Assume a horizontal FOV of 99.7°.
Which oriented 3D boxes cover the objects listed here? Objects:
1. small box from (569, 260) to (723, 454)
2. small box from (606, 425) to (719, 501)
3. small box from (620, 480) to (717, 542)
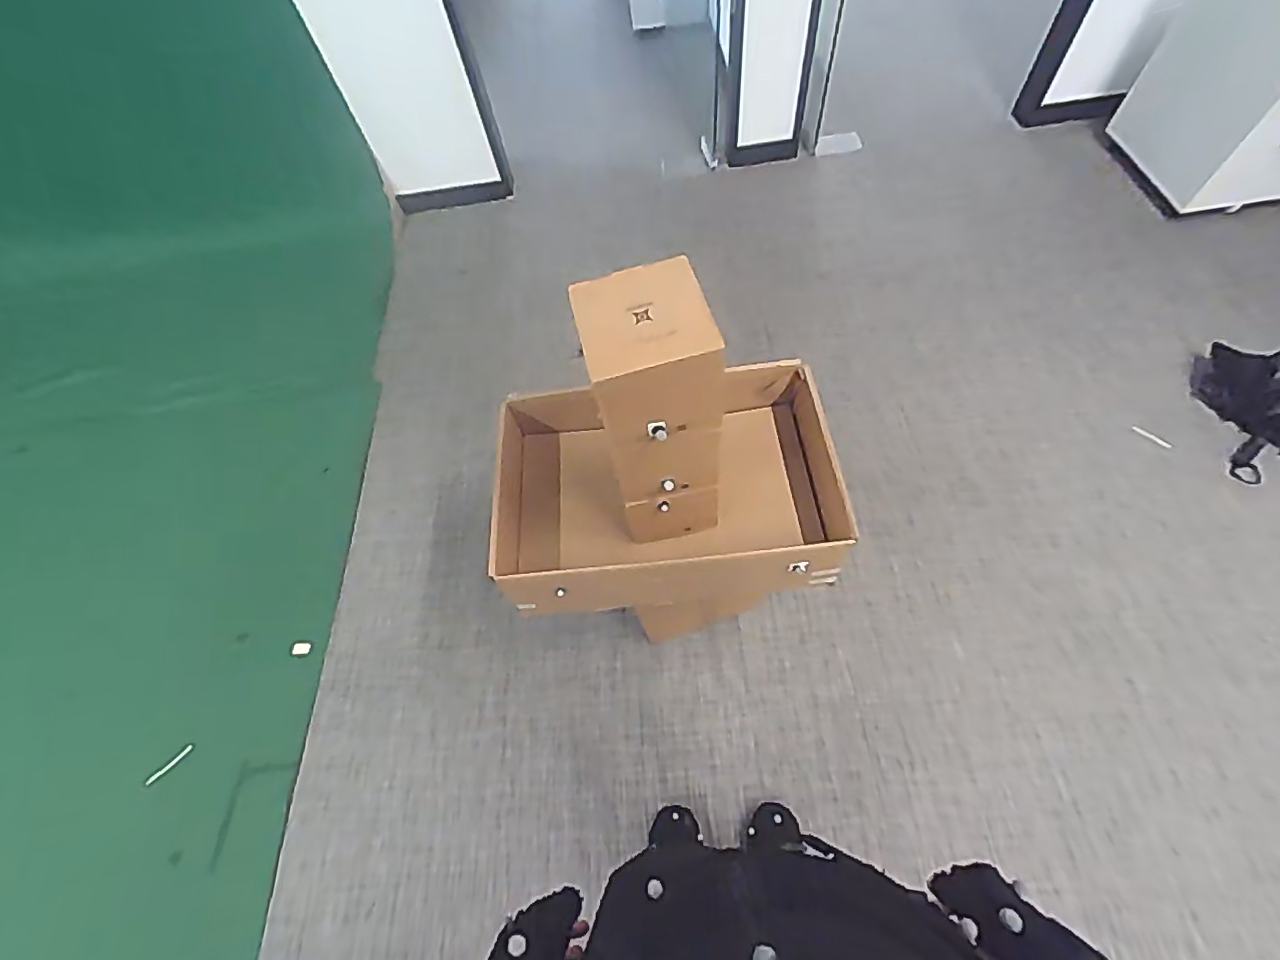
[{"bbox_3d":[0.010,-0.165,0.752,0.168,0.176,0.179,-16,61,0],"label":"small box"},{"bbox_3d":[0.030,-0.089,0.892,0.168,0.176,0.179,-12,60,1],"label":"small box"},{"bbox_3d":[0.046,-0.006,1.033,0.168,0.176,0.179,-13,59,1],"label":"small box"}]
